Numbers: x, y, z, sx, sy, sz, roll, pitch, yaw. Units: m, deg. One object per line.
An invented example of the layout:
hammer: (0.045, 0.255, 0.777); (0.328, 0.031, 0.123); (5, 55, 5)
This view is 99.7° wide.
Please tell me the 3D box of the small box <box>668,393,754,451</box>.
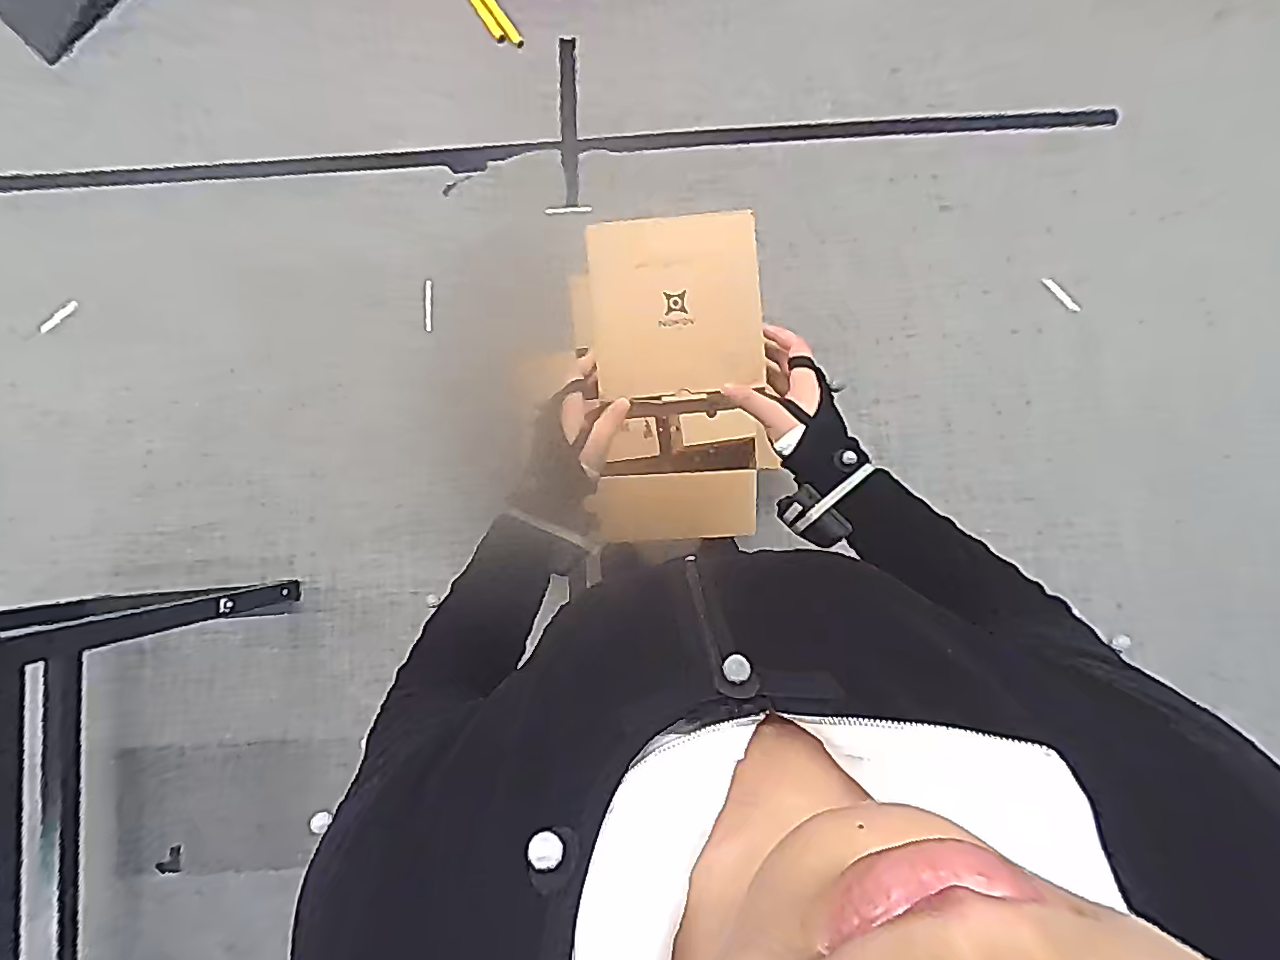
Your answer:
small box: (0.156, -0.165, 1.261); (0.168, 0.176, 0.179); (-8, 87, -4)

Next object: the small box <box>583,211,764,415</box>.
small box: (0.034, -0.168, 0.602); (0.168, 0.176, 0.179); (-6, 90, 0)
